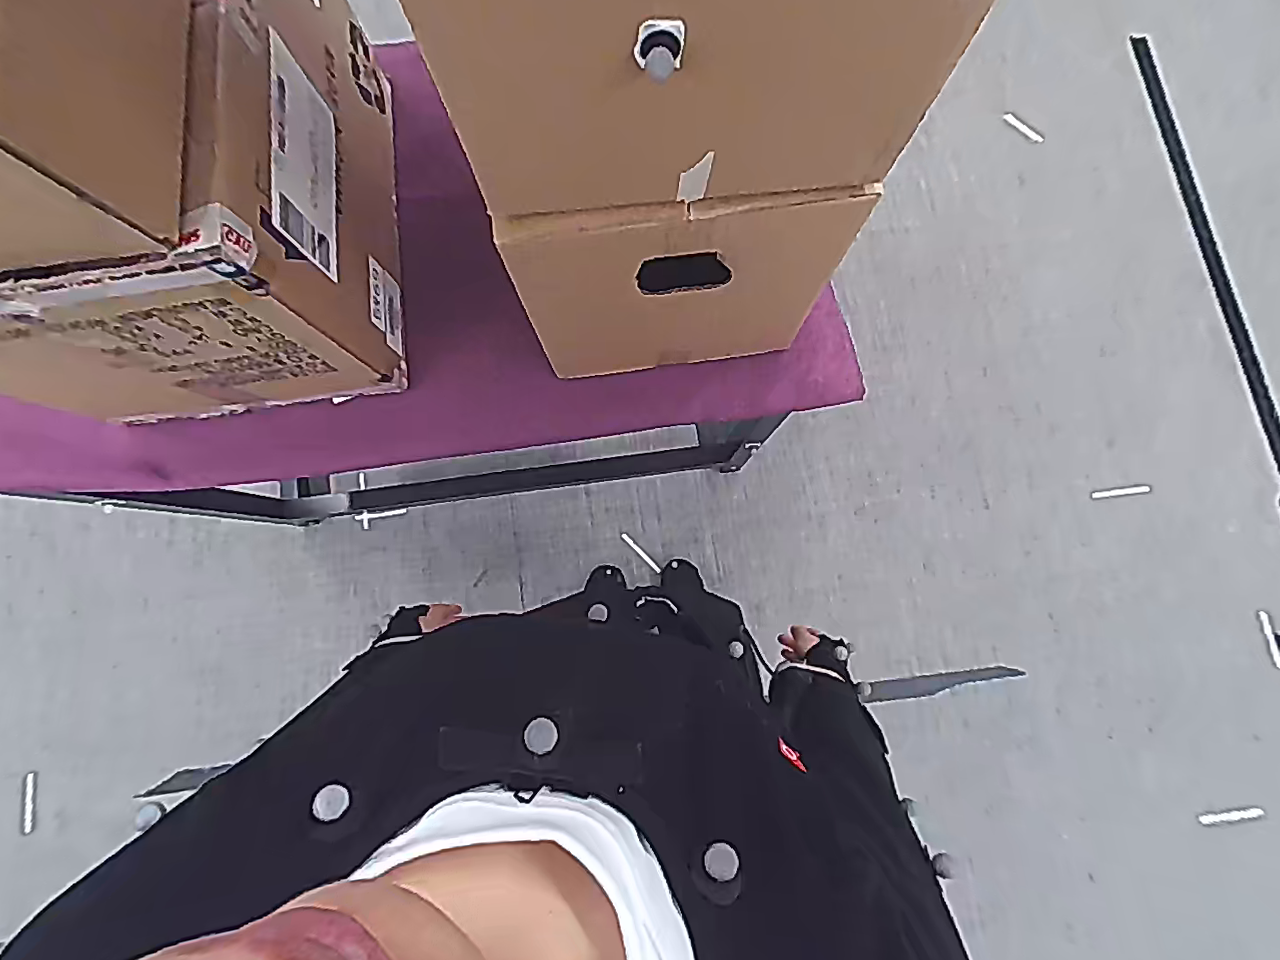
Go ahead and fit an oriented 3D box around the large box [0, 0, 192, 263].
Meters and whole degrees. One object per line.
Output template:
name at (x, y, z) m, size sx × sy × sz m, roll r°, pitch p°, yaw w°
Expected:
large box at (-0.525, -0.386, 0.303) m, size 0.320 × 0.320 × 0.408 m, roll -7°, pitch 81°, yaw 4°
